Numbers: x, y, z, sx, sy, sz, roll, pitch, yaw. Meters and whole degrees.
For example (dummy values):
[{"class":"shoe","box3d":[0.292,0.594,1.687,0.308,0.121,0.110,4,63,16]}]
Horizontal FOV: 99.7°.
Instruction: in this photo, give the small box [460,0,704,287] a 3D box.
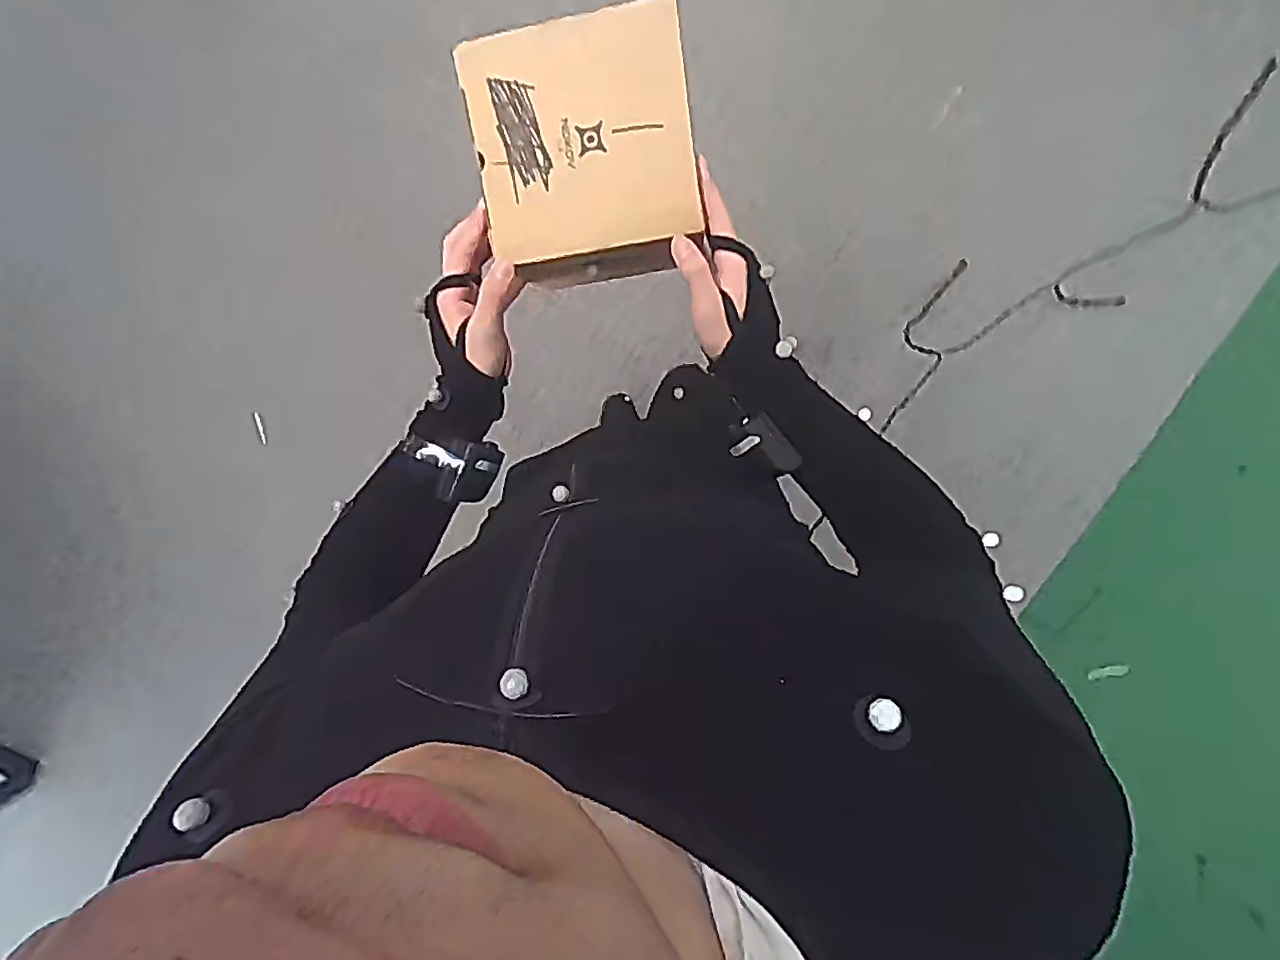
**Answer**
[{"class":"small box","box3d":[-0.036,-0.282,0.496,0.179,0.176,0.168,-7,102,7]}]
